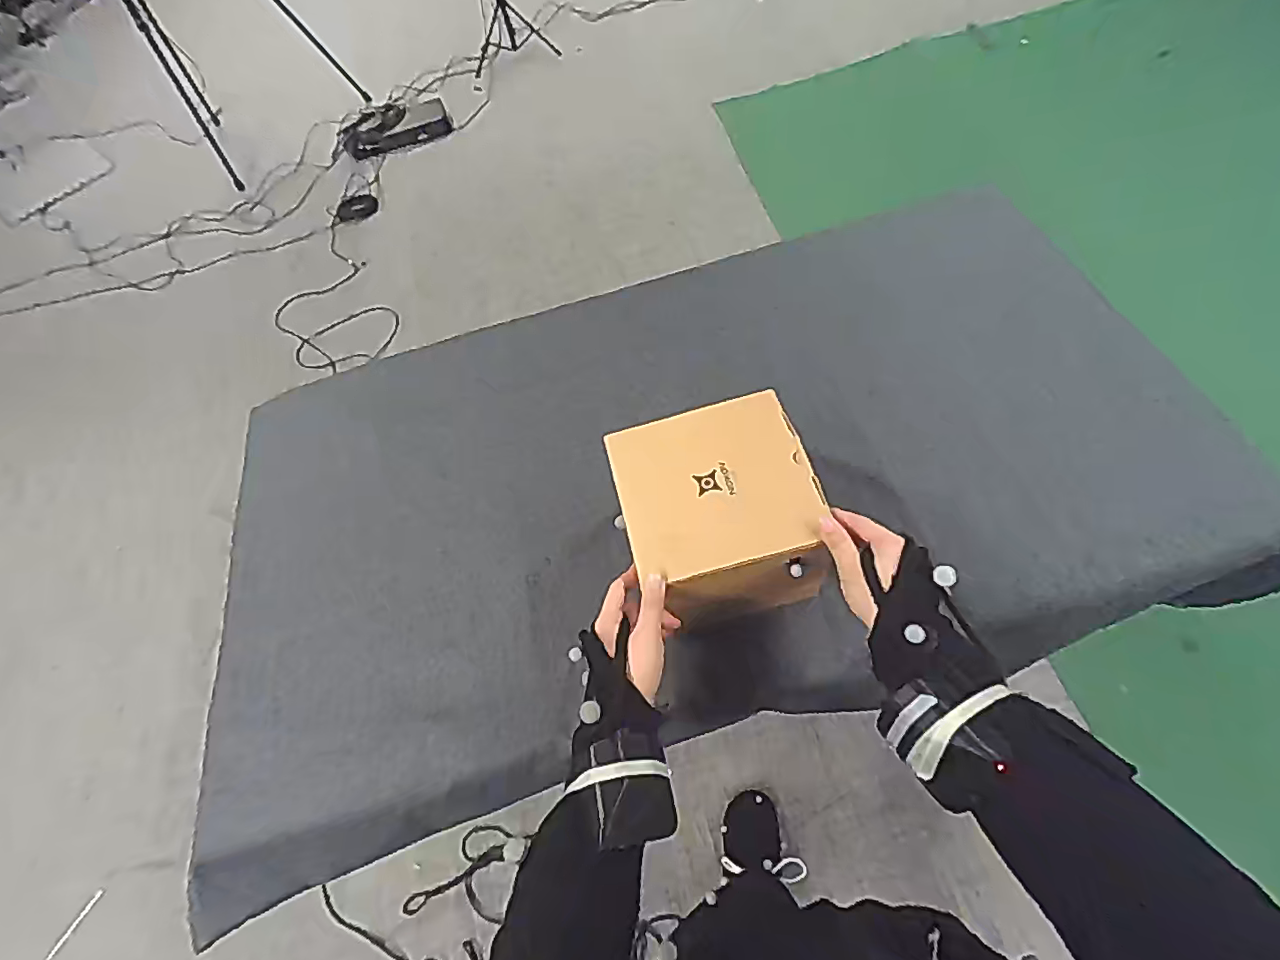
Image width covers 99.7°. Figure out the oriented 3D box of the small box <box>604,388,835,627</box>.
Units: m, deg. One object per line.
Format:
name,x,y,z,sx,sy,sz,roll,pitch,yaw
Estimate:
small box,0.076,0.038,0.560,0.179,0.176,0.168,-16,60,0
